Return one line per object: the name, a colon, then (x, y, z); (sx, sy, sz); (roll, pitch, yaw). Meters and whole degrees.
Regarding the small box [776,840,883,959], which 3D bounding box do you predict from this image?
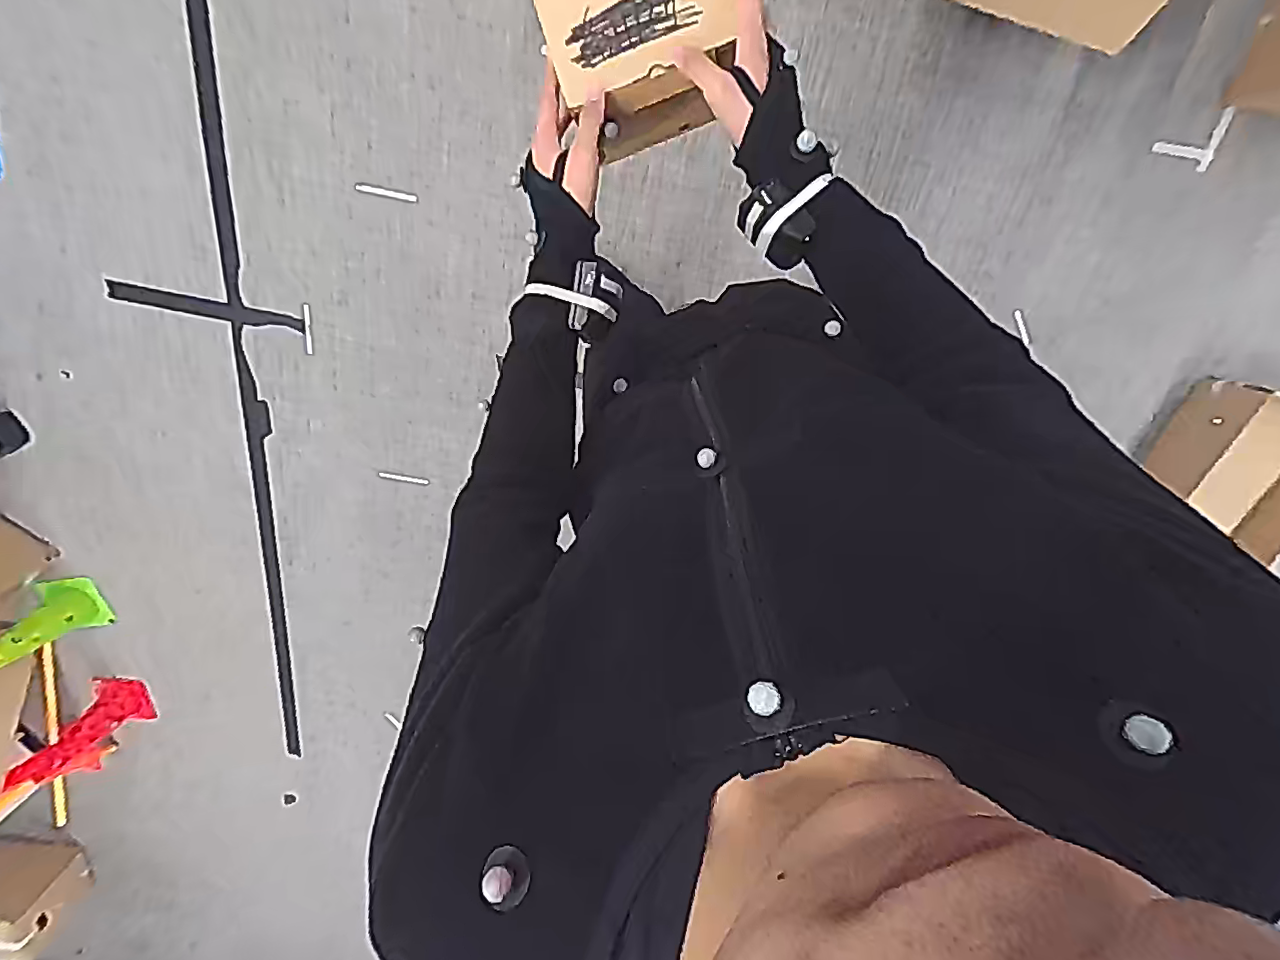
small box: (0.420, 0.955, 1.231); (0.168, 0.176, 0.179); (5, 115, -2)
